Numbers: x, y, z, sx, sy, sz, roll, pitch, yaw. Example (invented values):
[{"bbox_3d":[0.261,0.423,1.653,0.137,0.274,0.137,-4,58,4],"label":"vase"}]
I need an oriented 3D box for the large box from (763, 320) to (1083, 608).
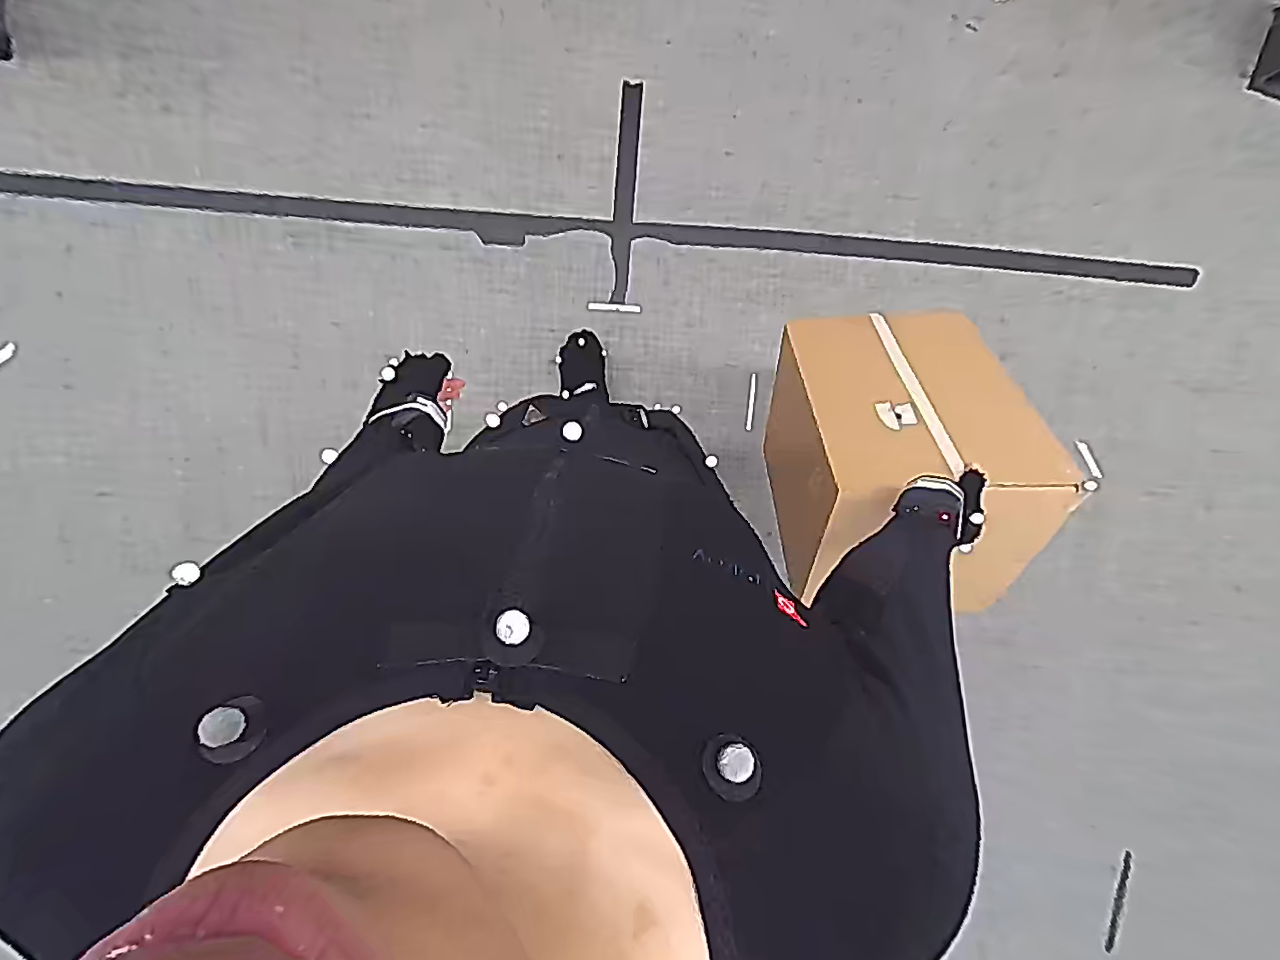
[{"bbox_3d":[0.417,-0.032,0.934,0.320,0.408,0.320,-2,139,2],"label":"large box"}]
